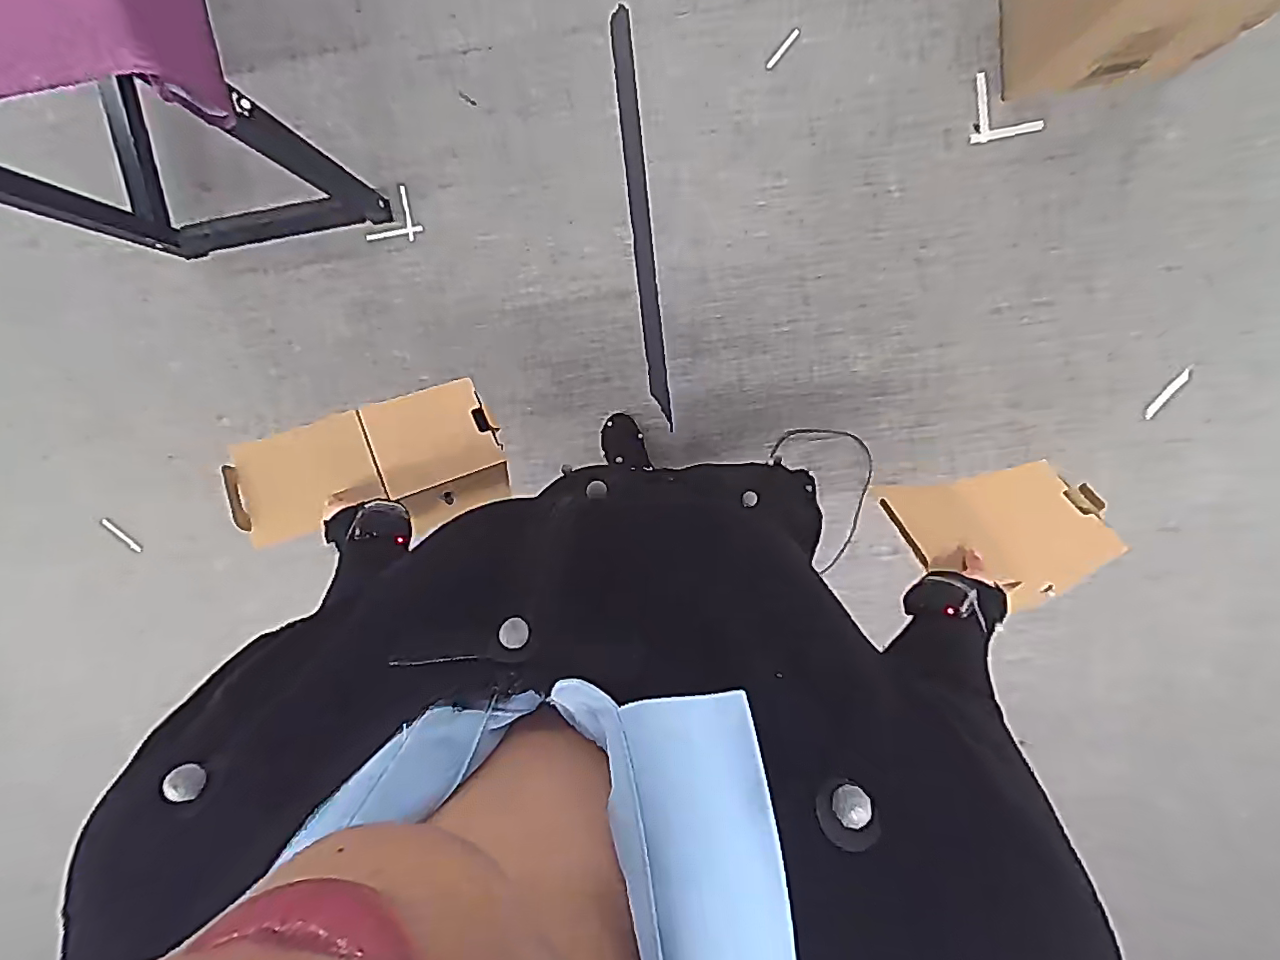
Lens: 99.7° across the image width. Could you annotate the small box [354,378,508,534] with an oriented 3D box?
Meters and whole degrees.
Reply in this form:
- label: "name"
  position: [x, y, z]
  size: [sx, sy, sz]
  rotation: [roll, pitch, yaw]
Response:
- label: "small box"
  position: [-0.325, -0.032, 0.872]
  size: [0.179, 0.176, 0.168]
  rotation: [-21, 73, -18]
